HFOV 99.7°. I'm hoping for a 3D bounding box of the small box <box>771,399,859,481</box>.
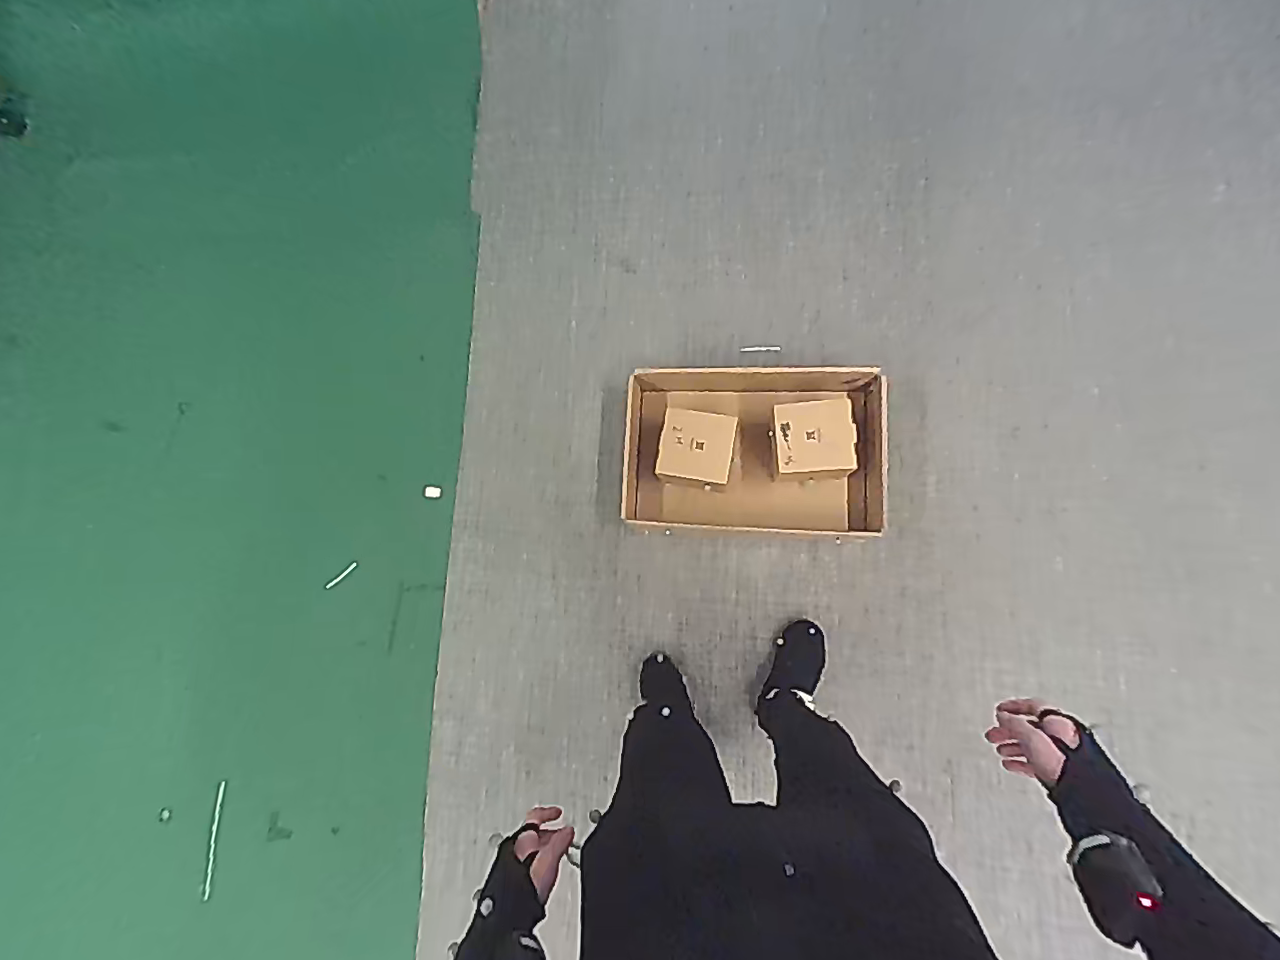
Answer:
[{"bbox_3d":[0.417,-0.090,1.310,0.179,0.176,0.168,-3,82,10],"label":"small box"}]
